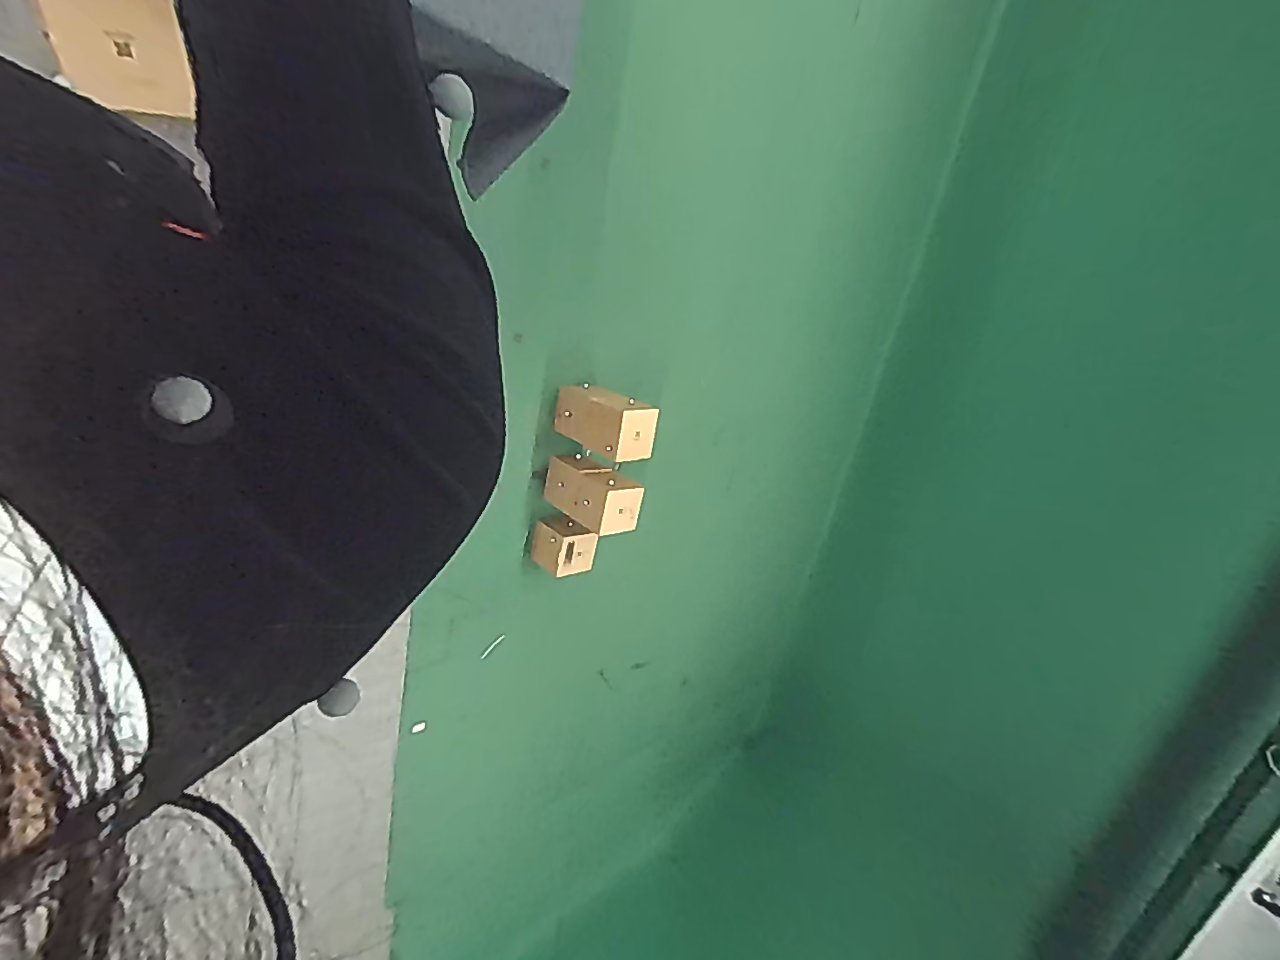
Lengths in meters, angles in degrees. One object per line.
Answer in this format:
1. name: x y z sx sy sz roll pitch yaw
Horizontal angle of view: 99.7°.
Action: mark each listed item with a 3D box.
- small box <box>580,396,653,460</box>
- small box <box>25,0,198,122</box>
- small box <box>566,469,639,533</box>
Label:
1. small box: -0.082 -0.180 1.814 0.168 0.176 0.179 -11 119 -45
2. small box: -0.870 -0.709 0.890 0.168 0.176 0.179 -21 126 -39
3. small box: -0.136 0.068 1.896 0.179 0.176 0.168 -6 116 -47
